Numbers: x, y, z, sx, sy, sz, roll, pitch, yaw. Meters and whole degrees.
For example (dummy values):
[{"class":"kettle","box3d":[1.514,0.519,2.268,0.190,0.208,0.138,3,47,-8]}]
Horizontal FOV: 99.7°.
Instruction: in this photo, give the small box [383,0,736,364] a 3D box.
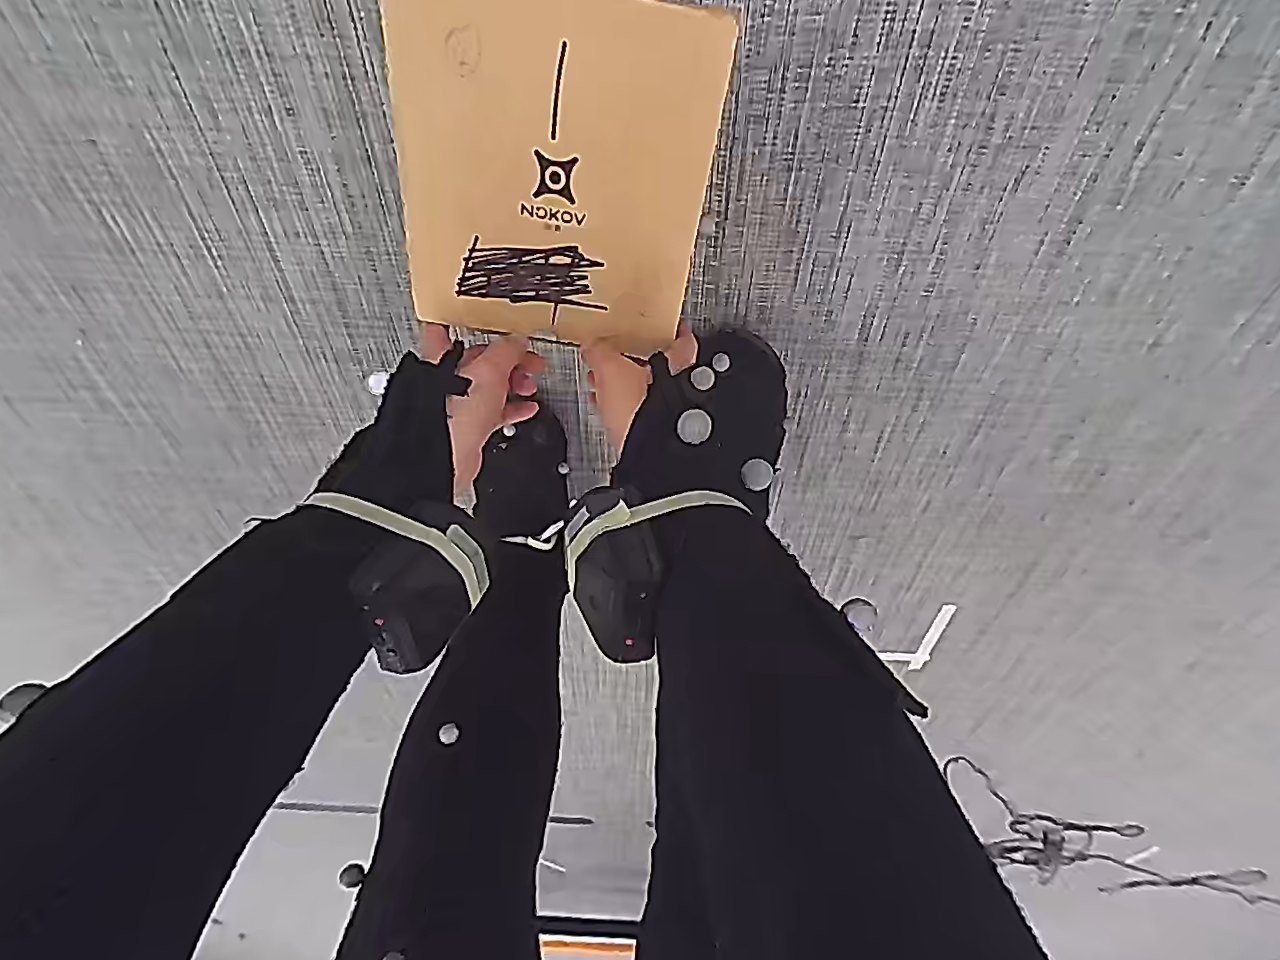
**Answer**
[{"class":"small box","box3d":[-0.044,-0.204,0.357,0.168,0.176,0.179,8,130,-4]}]
